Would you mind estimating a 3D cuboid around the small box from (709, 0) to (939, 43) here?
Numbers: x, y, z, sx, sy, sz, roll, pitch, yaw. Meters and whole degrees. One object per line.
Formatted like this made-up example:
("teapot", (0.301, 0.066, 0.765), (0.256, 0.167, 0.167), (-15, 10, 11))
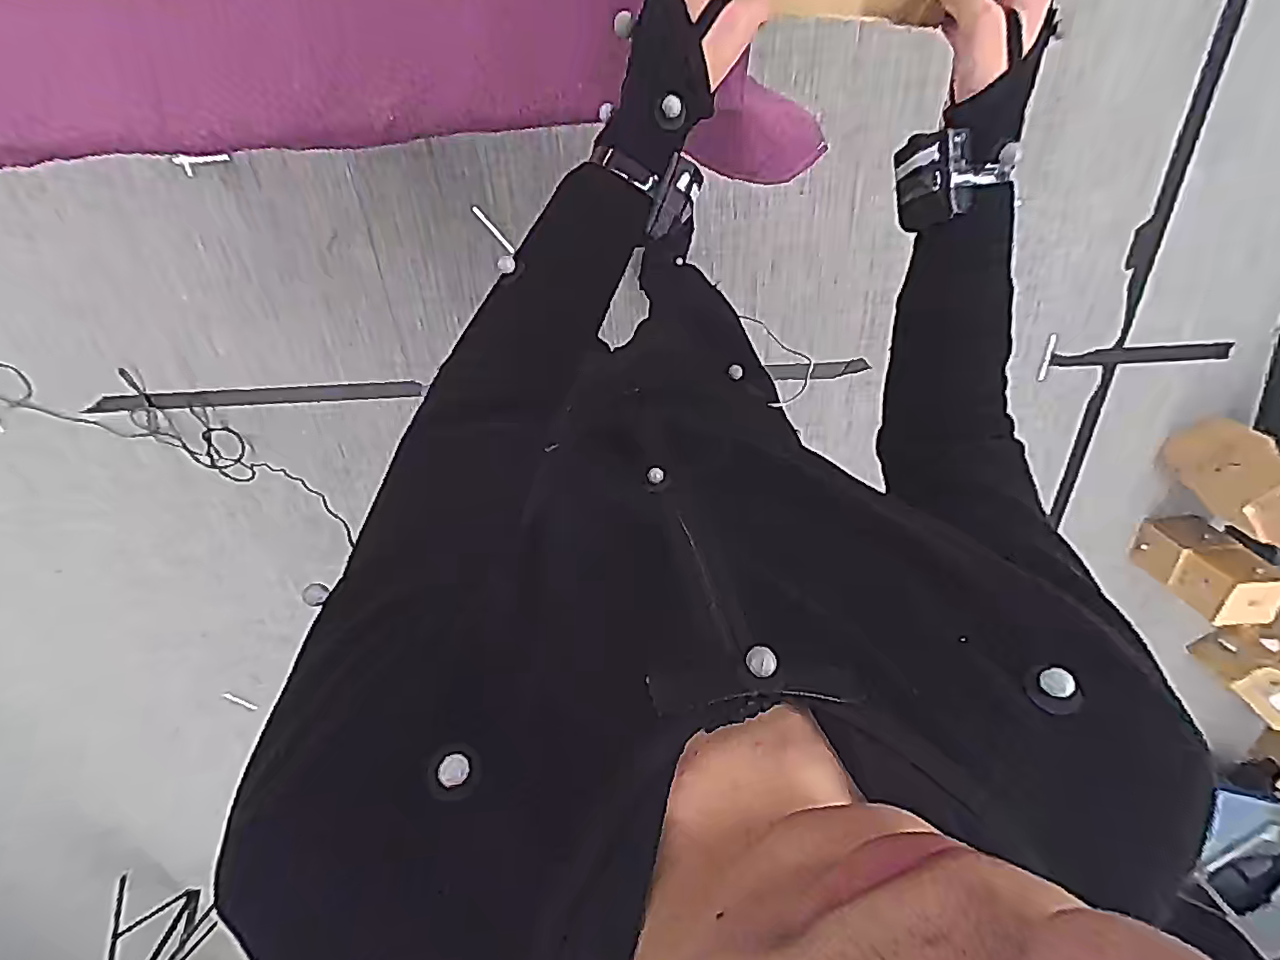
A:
("small box", (0.151, -0.473, 0.421), (0.179, 0.176, 0.168), (2, 141, -4))
